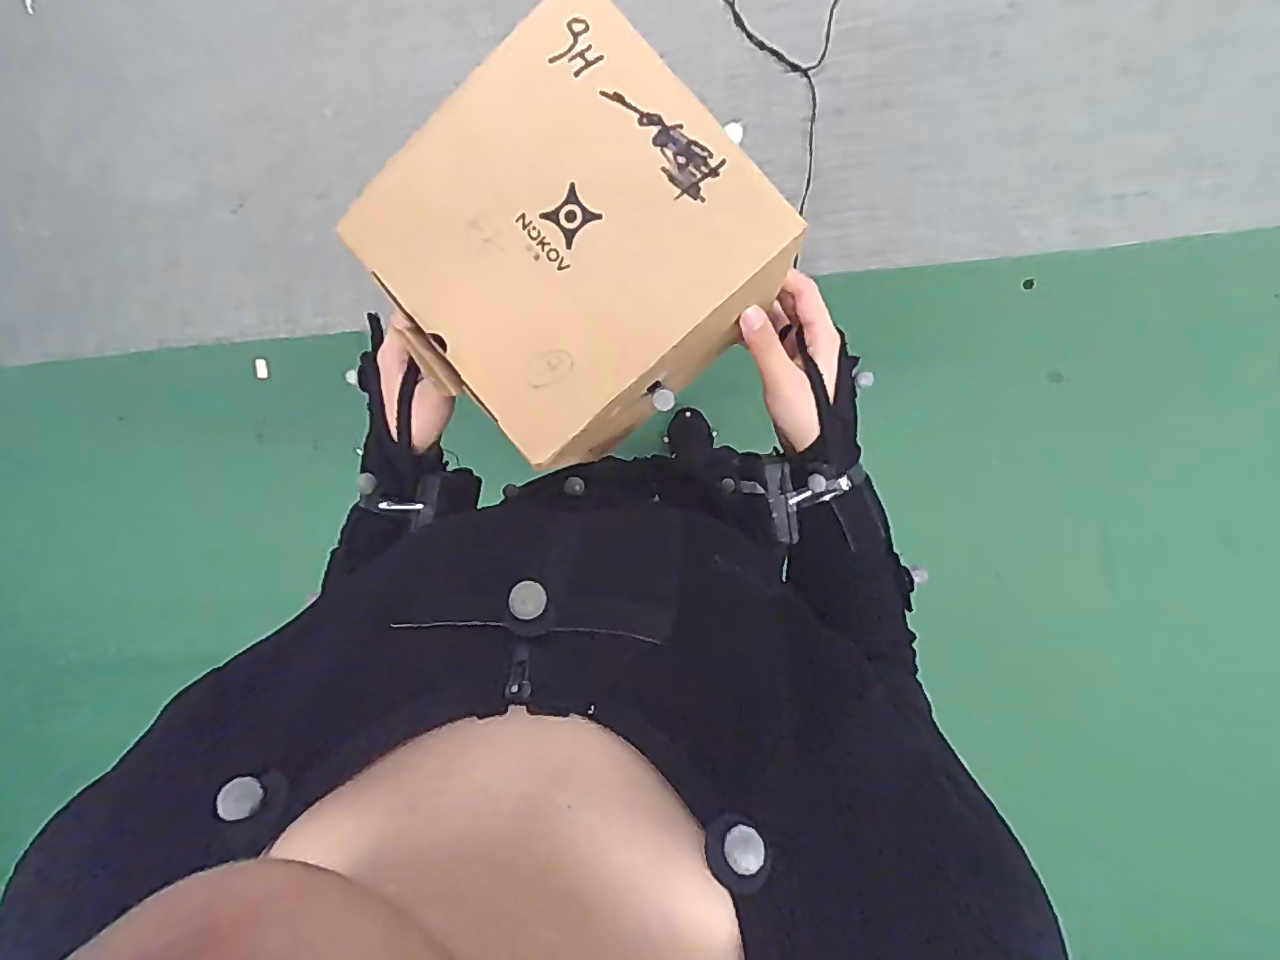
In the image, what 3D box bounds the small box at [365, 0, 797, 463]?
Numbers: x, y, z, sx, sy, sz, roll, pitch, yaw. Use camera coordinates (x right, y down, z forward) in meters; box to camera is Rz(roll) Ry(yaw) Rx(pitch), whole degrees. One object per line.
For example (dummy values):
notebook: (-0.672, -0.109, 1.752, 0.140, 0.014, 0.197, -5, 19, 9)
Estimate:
small box: (-0.025, -0.128, 0.357, 0.179, 0.176, 0.168, -41, 89, 9)
